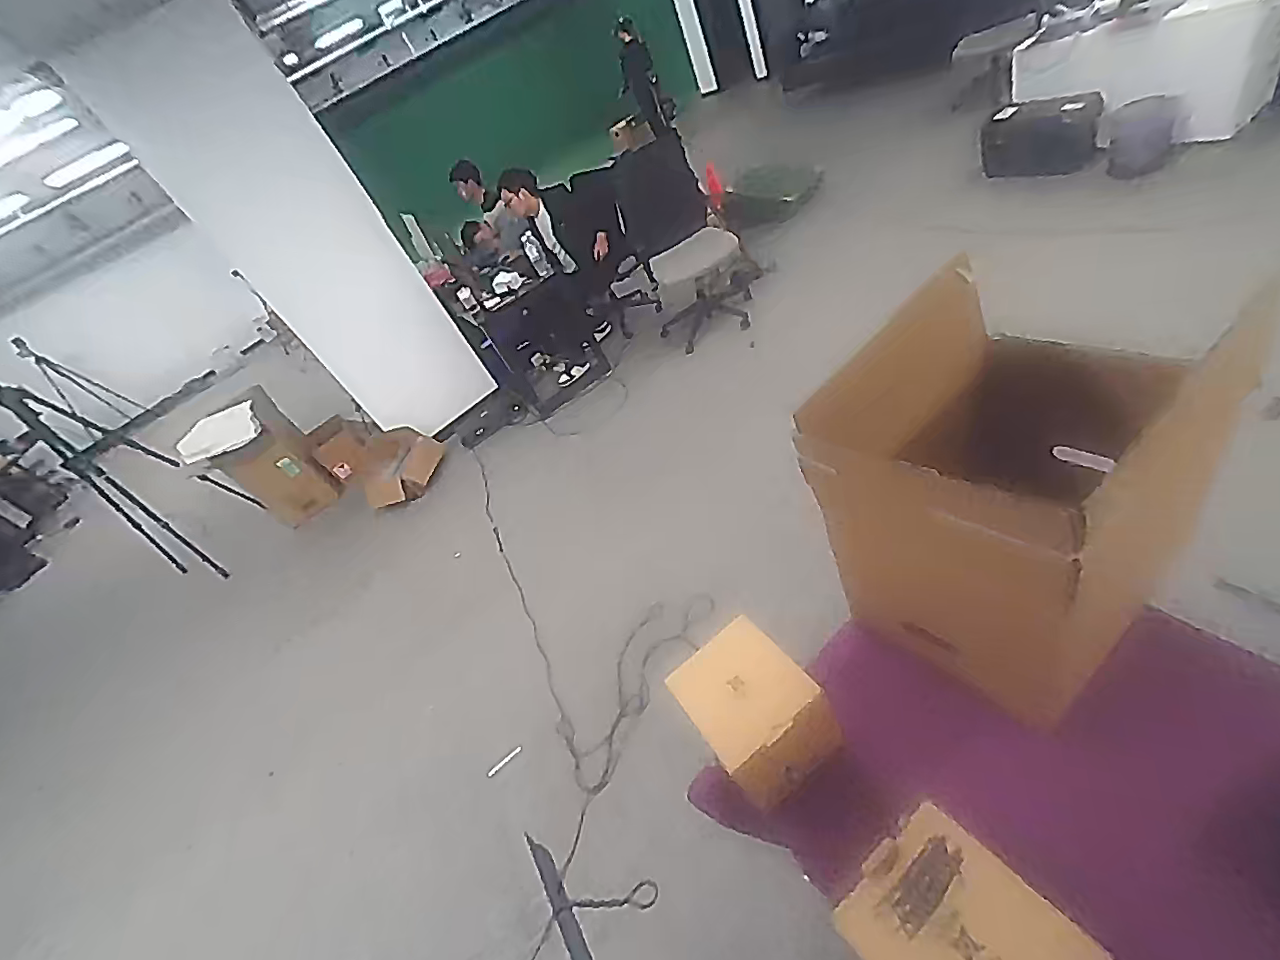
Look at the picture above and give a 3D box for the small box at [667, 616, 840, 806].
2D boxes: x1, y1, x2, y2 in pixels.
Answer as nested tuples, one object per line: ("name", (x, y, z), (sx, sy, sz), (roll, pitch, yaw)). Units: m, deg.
("small box", (0.174, 0.351, 0.824), (0.168, 0.176, 0.179), (-38, 39, -10))
